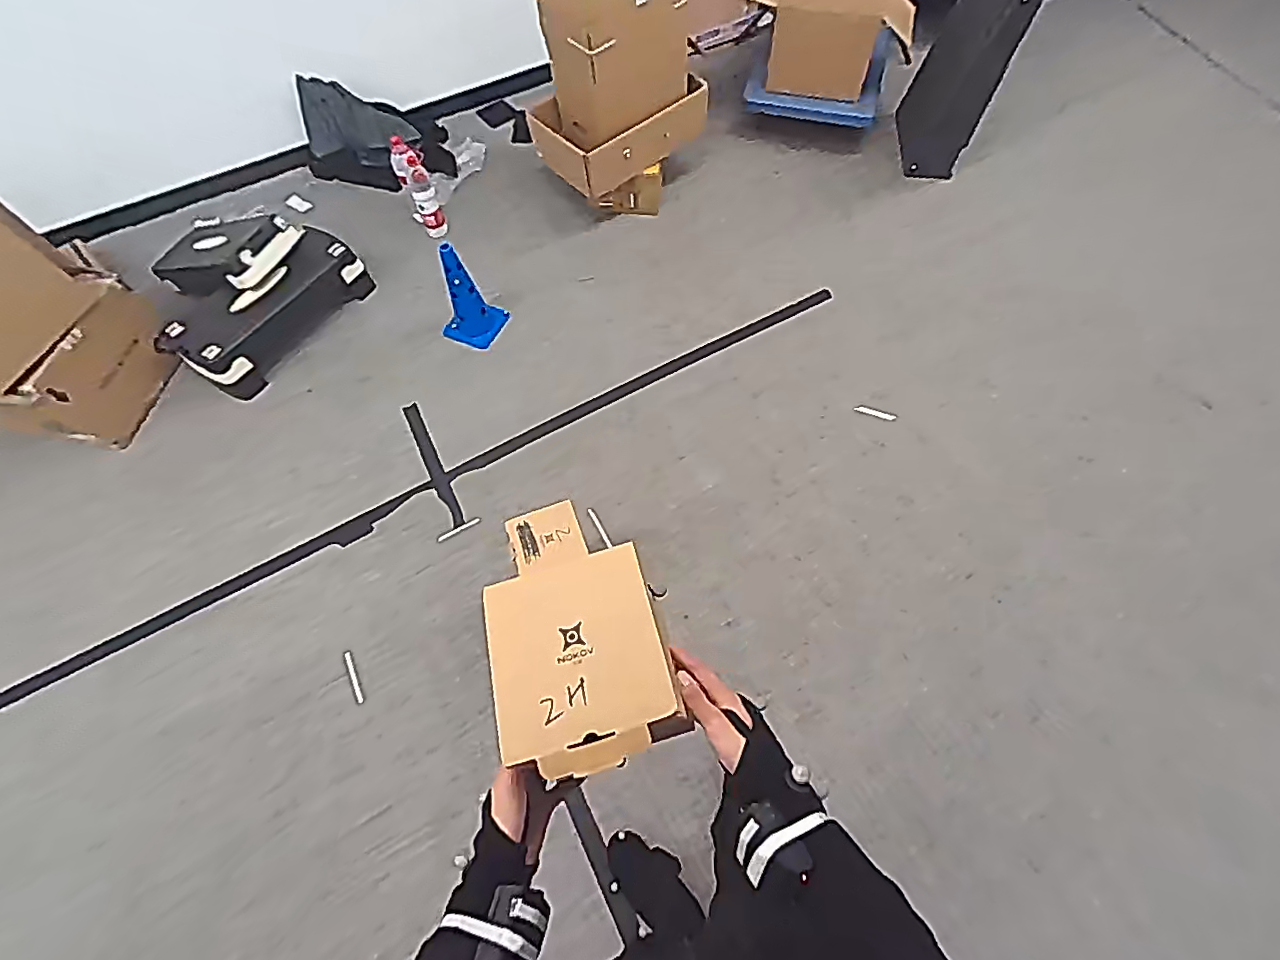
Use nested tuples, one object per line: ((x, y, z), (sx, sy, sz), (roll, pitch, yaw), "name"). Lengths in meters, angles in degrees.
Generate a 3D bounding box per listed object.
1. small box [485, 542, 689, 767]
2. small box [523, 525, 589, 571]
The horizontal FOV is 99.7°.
((-0.051, 0.195, 0.587), (0.168, 0.176, 0.179), (-17, 60, 1), "small box")
((-0.213, 0.260, 1.541), (0.168, 0.176, 0.179), (-23, 65, -10), "small box")
